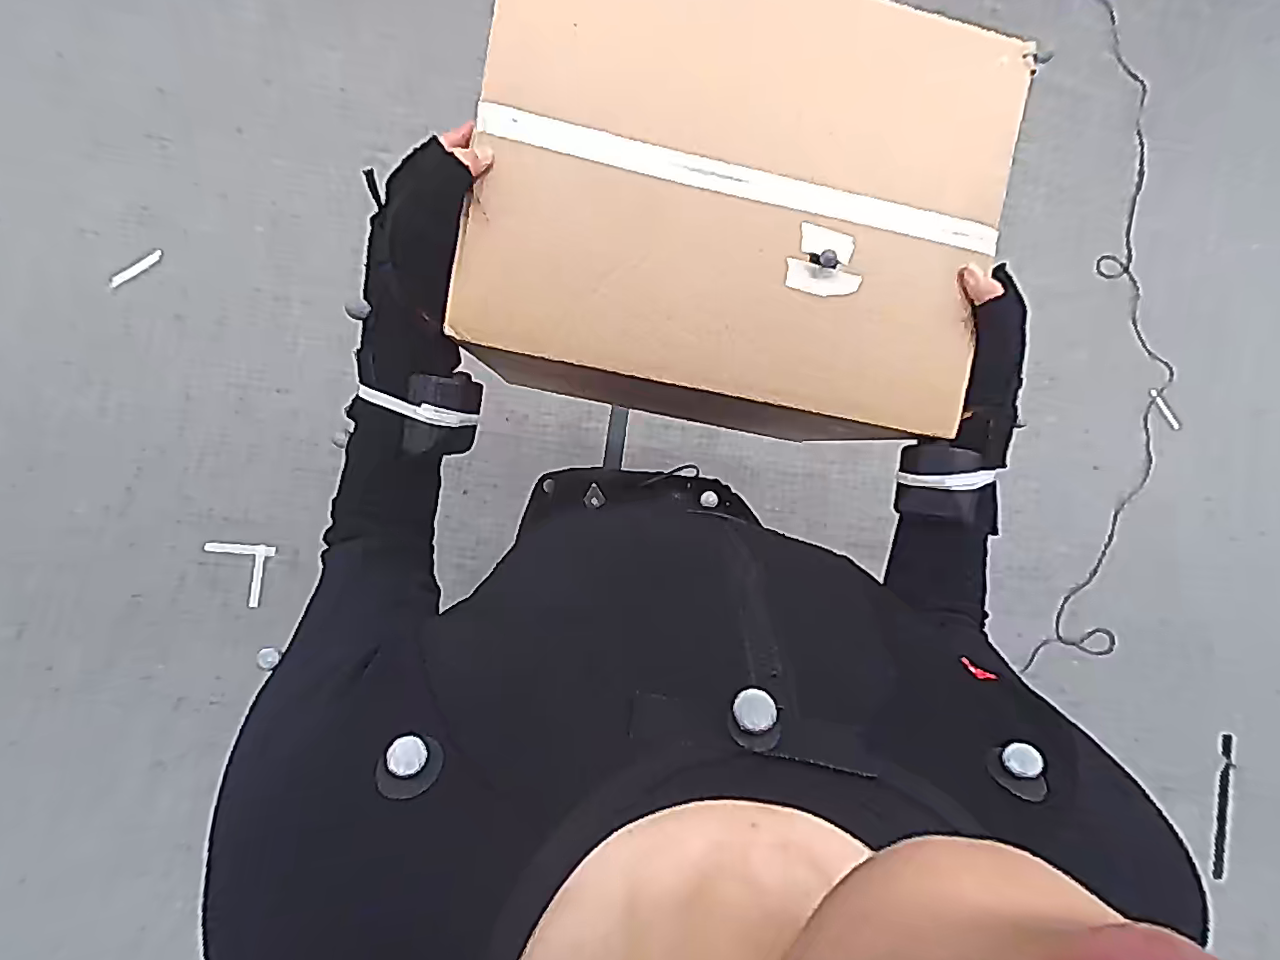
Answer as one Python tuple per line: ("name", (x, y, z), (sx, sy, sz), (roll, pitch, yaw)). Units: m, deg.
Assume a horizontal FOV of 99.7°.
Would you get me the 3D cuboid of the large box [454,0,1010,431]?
("large box", (0.060, -0.237, 0.564), (0.408, 0.320, 0.320), (10, 94, -7))
